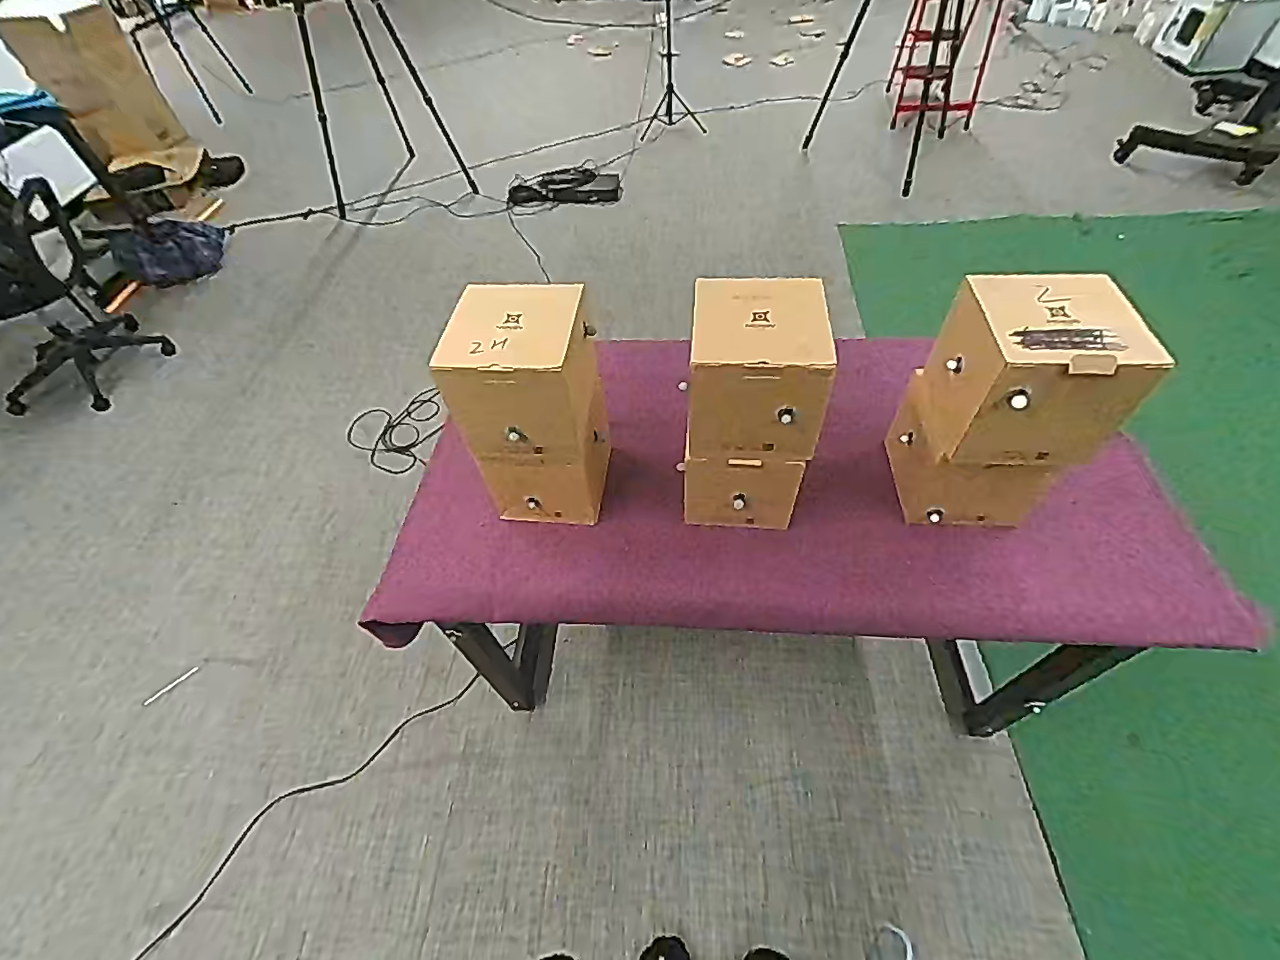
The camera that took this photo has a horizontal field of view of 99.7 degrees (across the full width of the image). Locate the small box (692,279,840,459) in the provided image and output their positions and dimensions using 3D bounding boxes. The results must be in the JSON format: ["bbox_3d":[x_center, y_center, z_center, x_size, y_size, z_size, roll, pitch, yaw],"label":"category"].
[{"bbox_3d":[0.156,-0.143,0.715,0.168,0.176,0.179,3,52,7],"label":"small box"}]

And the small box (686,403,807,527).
[{"bbox_3d":[0.160,-0.042,0.843,0.168,0.176,0.179,3,53,7],"label":"small box"}]

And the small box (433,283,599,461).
[{"bbox_3d":[-0.154,-0.148,0.744,0.168,0.176,0.179,2,53,6],"label":"small box"}]

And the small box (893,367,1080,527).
[{"bbox_3d":[0.501,-0.046,0.815,0.168,0.176,0.179,5,53,6],"label":"small box"}]
